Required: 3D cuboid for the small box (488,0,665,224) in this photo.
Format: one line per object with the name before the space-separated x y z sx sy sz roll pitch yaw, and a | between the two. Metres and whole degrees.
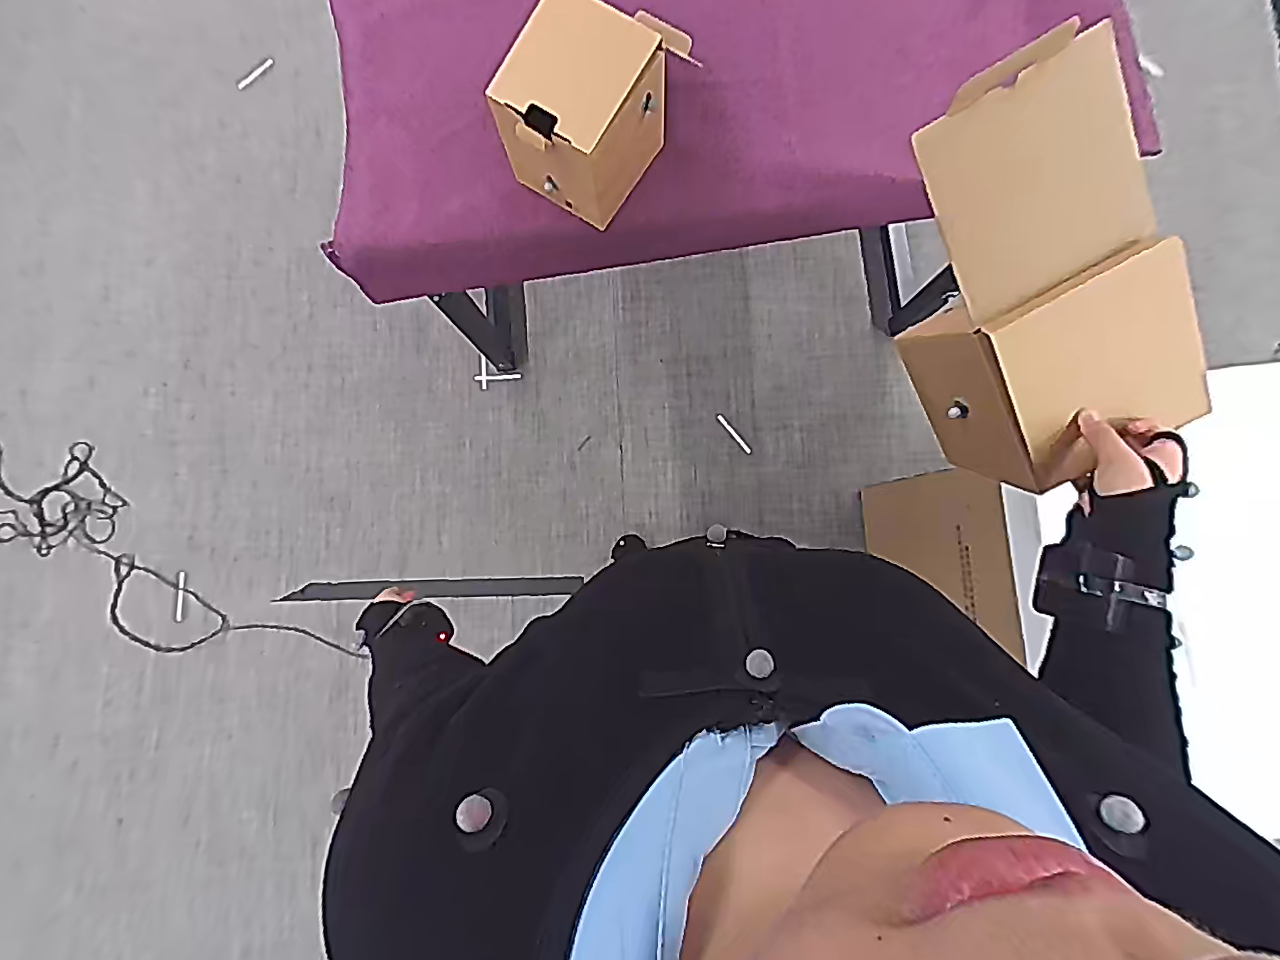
small box | -0.080 -0.512 0.767 0.168 0.176 0.179 33 85 6
